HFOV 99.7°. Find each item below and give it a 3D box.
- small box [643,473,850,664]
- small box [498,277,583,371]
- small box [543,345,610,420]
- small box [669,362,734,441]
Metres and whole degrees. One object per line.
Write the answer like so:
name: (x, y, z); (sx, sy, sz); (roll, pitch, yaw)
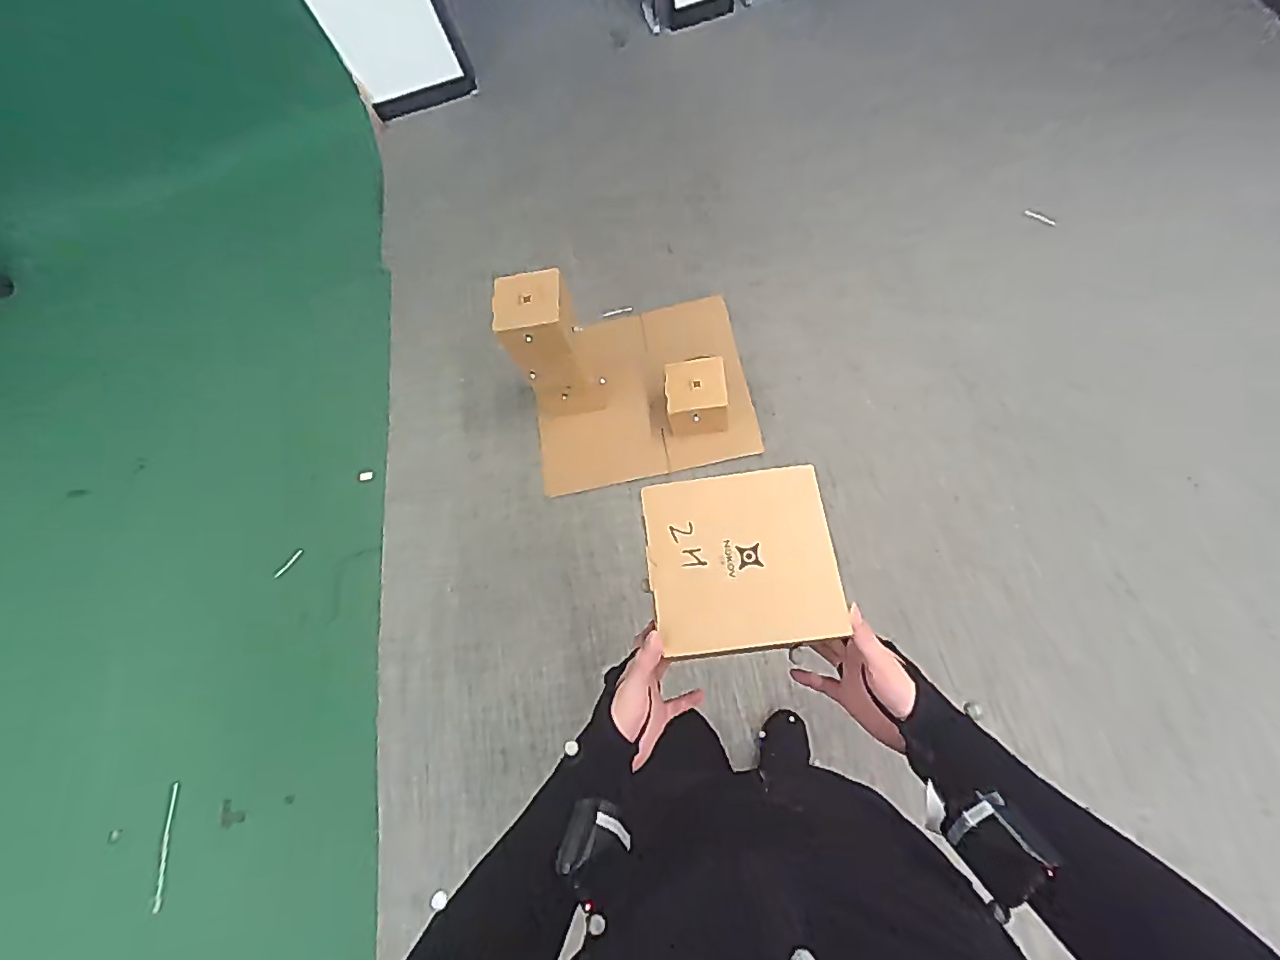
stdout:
small box: (0.102, 0.105, 0.586); (0.179, 0.176, 0.168); (-8, 69, 4)
small box: (-0.260, -0.408, 1.442); (0.179, 0.176, 0.168); (-6, 69, 9)
small box: (-0.203, -0.308, 1.749); (0.179, 0.176, 0.168); (-8, 68, 8)
small box: (0.191, -0.234, 1.640); (0.179, 0.176, 0.168); (-8, 68, 10)
